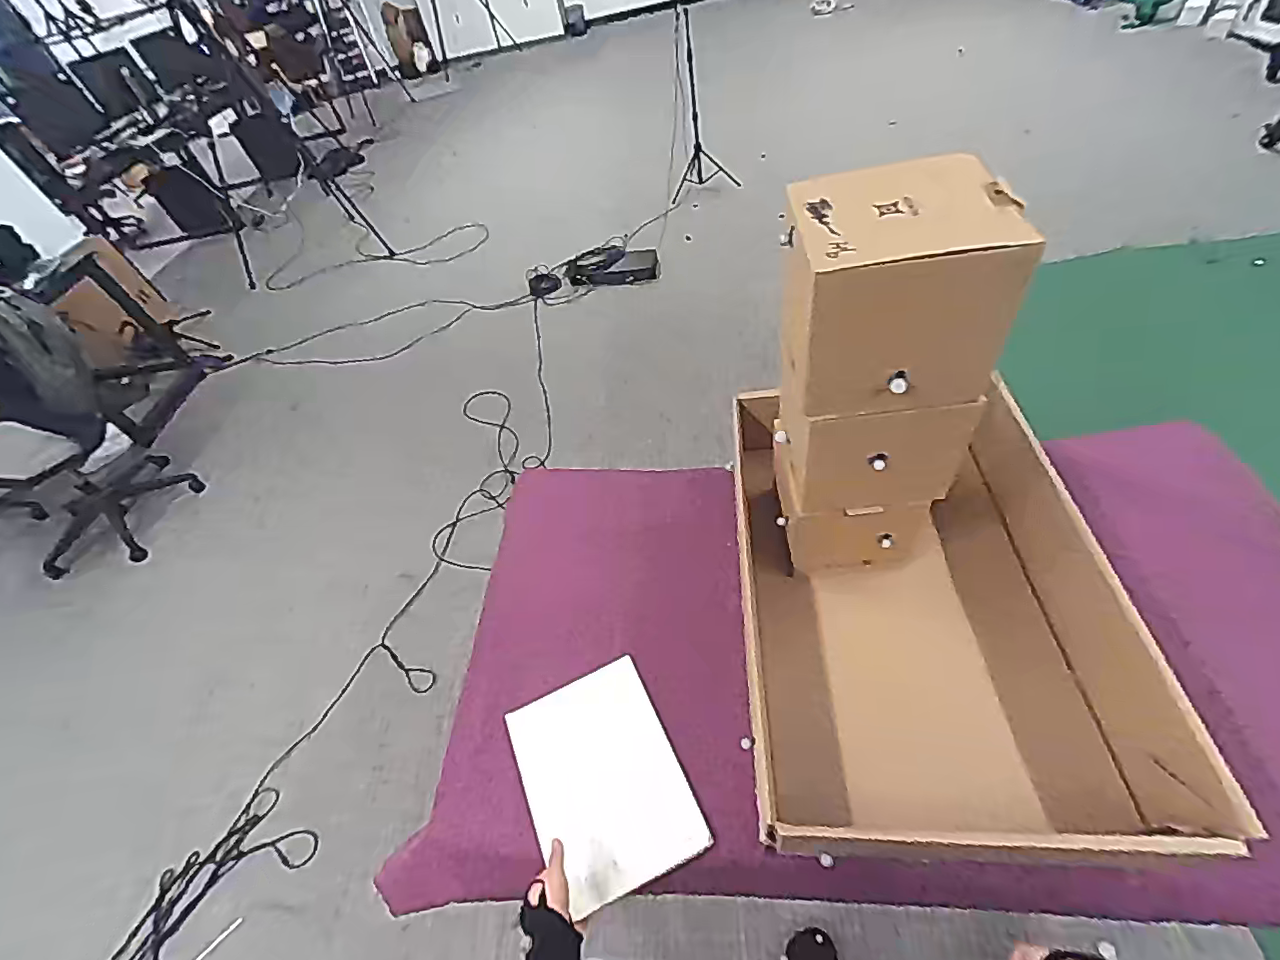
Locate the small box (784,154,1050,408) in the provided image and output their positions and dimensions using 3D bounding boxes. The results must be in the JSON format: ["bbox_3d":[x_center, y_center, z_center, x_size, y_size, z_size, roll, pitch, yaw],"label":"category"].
[{"bbox_3d":[0.245,-0.189,0.535,0.179,0.176,0.168,-4,50,8],"label":"small box"}]

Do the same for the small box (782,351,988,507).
[{"bbox_3d":[0.275,-0.083,0.657,0.179,0.176,0.168,-6,50,8],"label":"small box"}]
